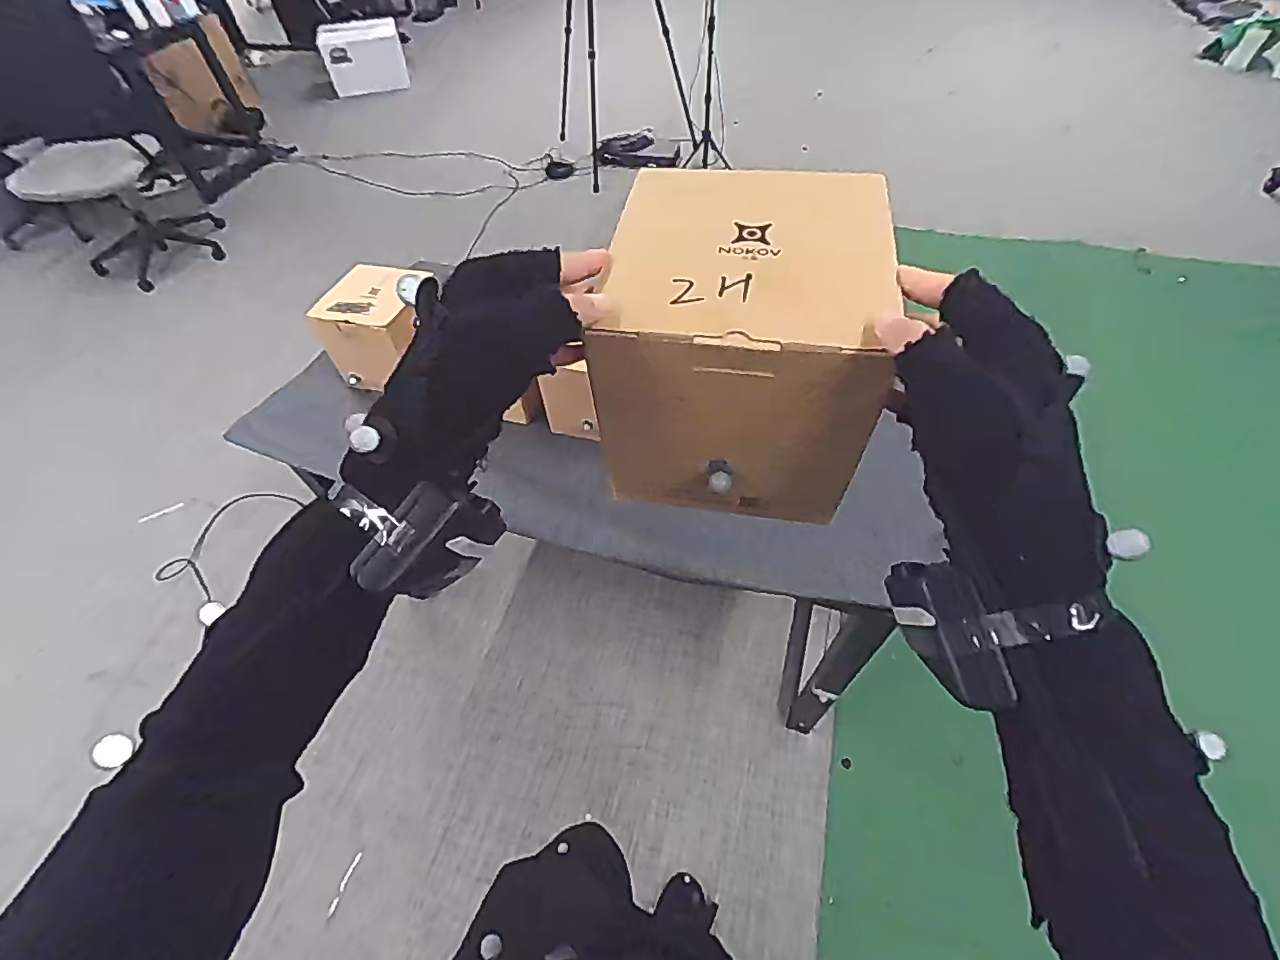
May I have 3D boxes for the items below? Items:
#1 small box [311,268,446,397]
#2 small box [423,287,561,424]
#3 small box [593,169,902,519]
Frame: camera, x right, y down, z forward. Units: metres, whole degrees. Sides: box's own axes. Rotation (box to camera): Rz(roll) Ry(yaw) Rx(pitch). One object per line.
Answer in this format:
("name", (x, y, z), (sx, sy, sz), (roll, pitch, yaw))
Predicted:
("small box", (-0.482, -0.285, 1.055), (0.168, 0.176, 0.179), (11, 53, 11))
("small box", (-0.259, -0.228, 1.001), (0.168, 0.176, 0.179), (13, 54, 13))
("small box", (0.073, -0.096, 0.394), (0.168, 0.176, 0.179), (7, 56, 9))
